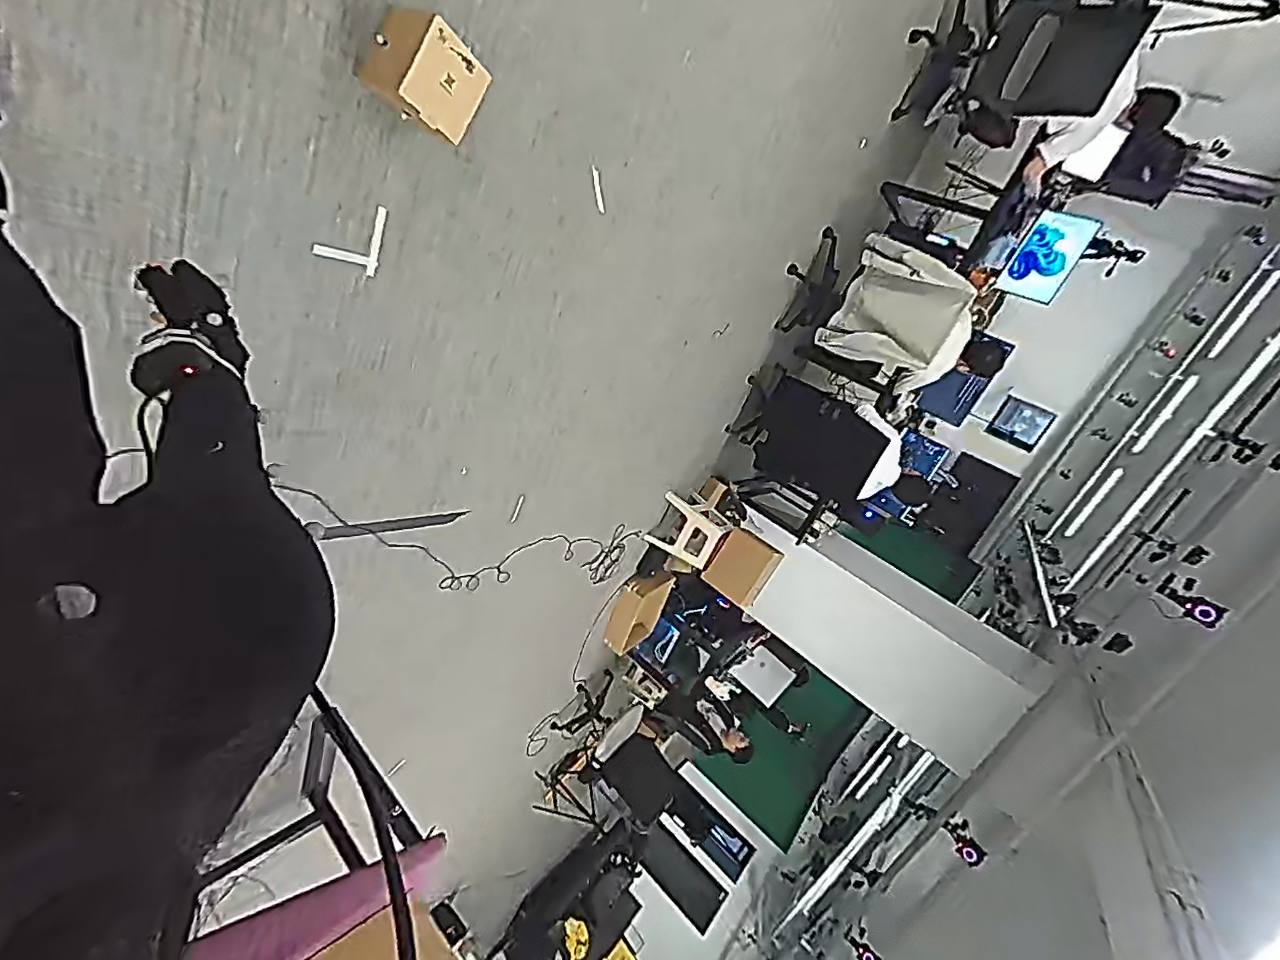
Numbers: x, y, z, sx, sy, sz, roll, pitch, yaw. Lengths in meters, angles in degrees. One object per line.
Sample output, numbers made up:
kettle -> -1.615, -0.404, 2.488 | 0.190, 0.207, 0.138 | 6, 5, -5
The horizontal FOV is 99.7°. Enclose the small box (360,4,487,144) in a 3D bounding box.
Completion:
small box -> -0.484, -0.898, 1.199 | 0.179, 0.176, 0.168 | -57, 154, 6
